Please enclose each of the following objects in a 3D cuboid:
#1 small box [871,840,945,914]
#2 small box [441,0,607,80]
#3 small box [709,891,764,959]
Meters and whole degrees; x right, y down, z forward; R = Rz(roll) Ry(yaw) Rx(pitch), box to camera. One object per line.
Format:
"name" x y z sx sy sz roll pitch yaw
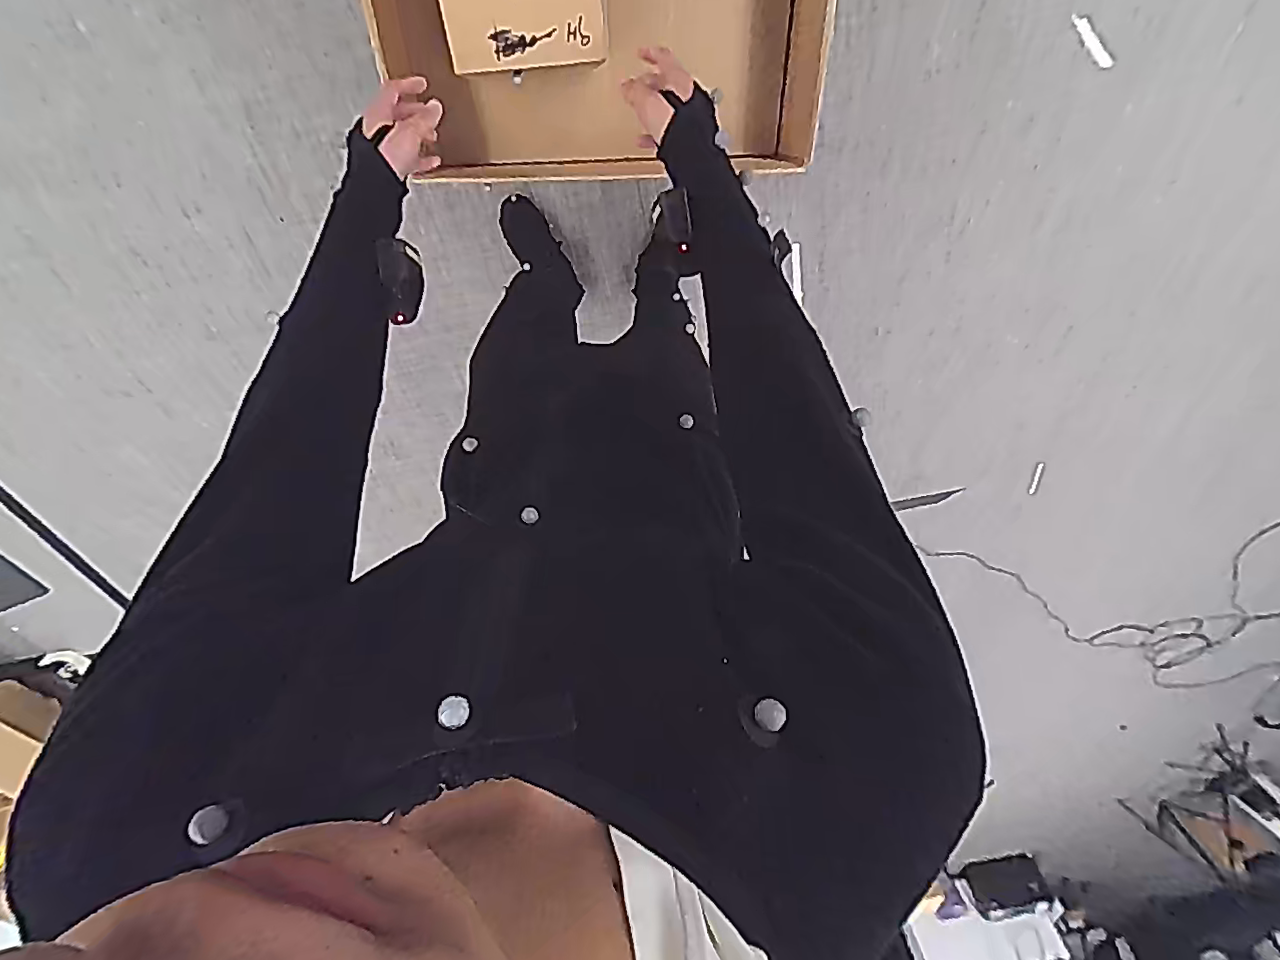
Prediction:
"small box" 0.979 1.460 1.994 0.179 0.176 0.168 -7 126 -1
"small box" -0.131 -0.558 0.594 0.168 0.176 0.179 -8 125 -3
"small box" 0.382 1.767 2.148 0.179 0.176 0.168 -11 125 1
